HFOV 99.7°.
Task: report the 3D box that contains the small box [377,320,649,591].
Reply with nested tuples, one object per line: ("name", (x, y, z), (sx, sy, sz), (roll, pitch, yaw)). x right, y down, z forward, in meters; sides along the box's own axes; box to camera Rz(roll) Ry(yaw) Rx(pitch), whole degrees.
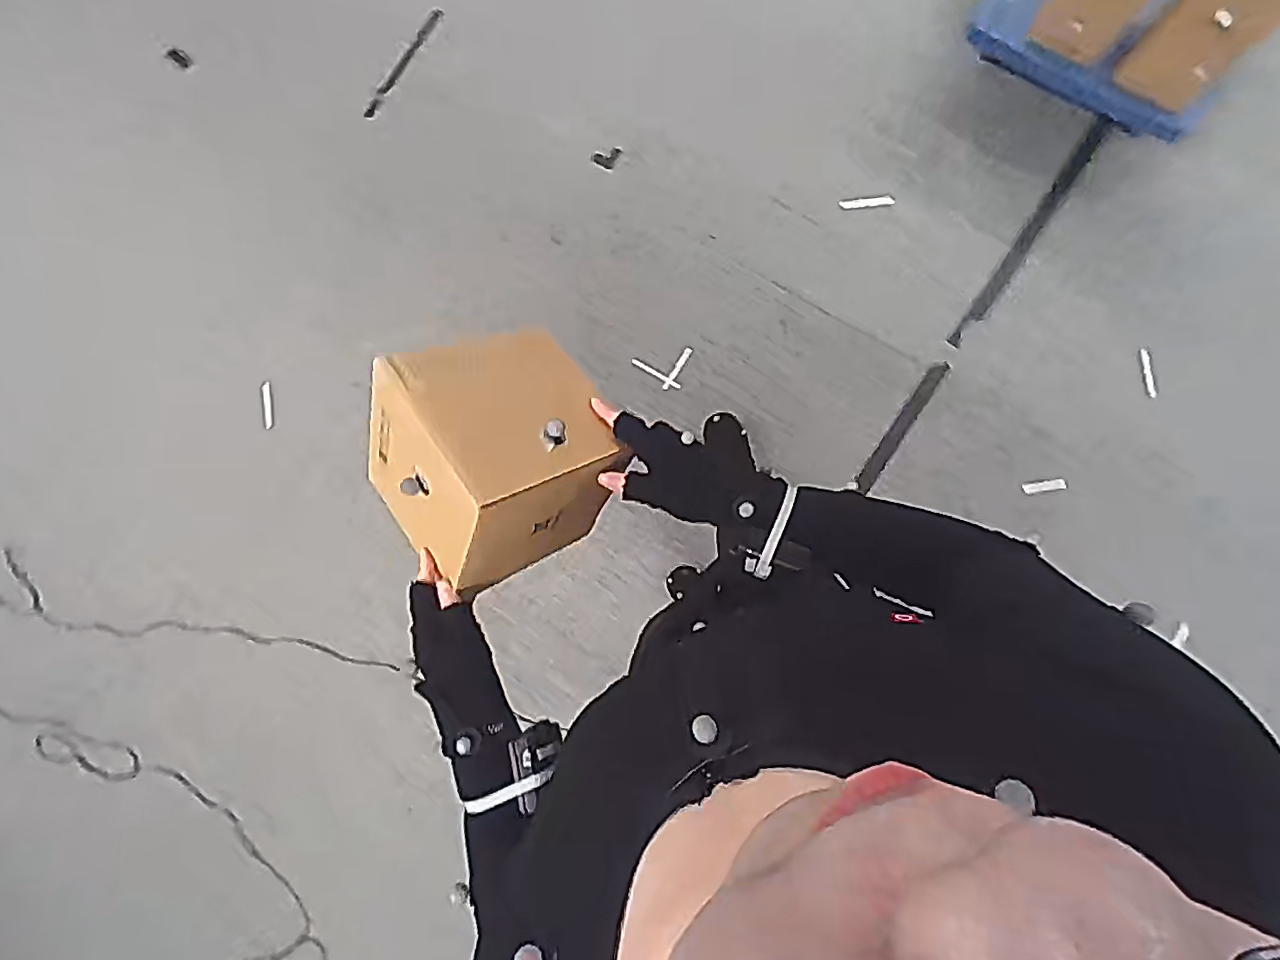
("small box", (-0.131, -0.031, 0.522), (0.176, 0.179, 0.168), (51, 137, 16))

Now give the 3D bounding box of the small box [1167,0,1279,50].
("small box", (1.187, -0.994, 1.034), (0.168, 0.176, 0.179), (34, 91, 6))

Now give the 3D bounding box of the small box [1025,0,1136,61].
("small box", (1.021, -1.110, 1.221), (0.168, 0.176, 0.179), (31, 89, 5))
